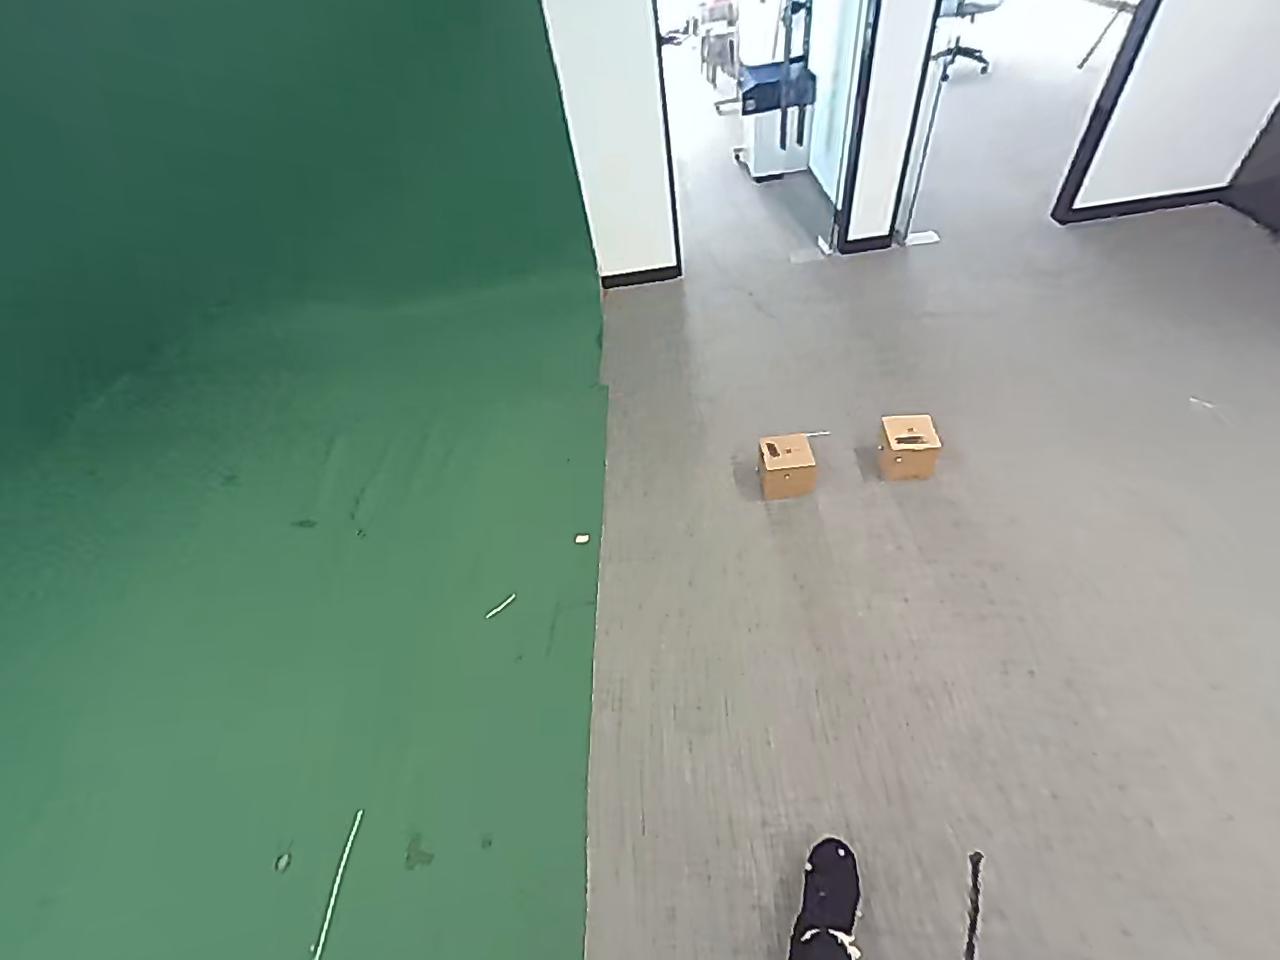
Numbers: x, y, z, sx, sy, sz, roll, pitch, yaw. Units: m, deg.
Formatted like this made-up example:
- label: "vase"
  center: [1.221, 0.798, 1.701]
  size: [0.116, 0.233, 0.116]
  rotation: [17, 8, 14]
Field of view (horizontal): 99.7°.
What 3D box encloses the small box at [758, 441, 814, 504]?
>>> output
- label: "small box"
  center: [0.539, -0.023, 2.021]
  size: [0.179, 0.176, 0.168]
  rotation: [-6, 47, 4]
